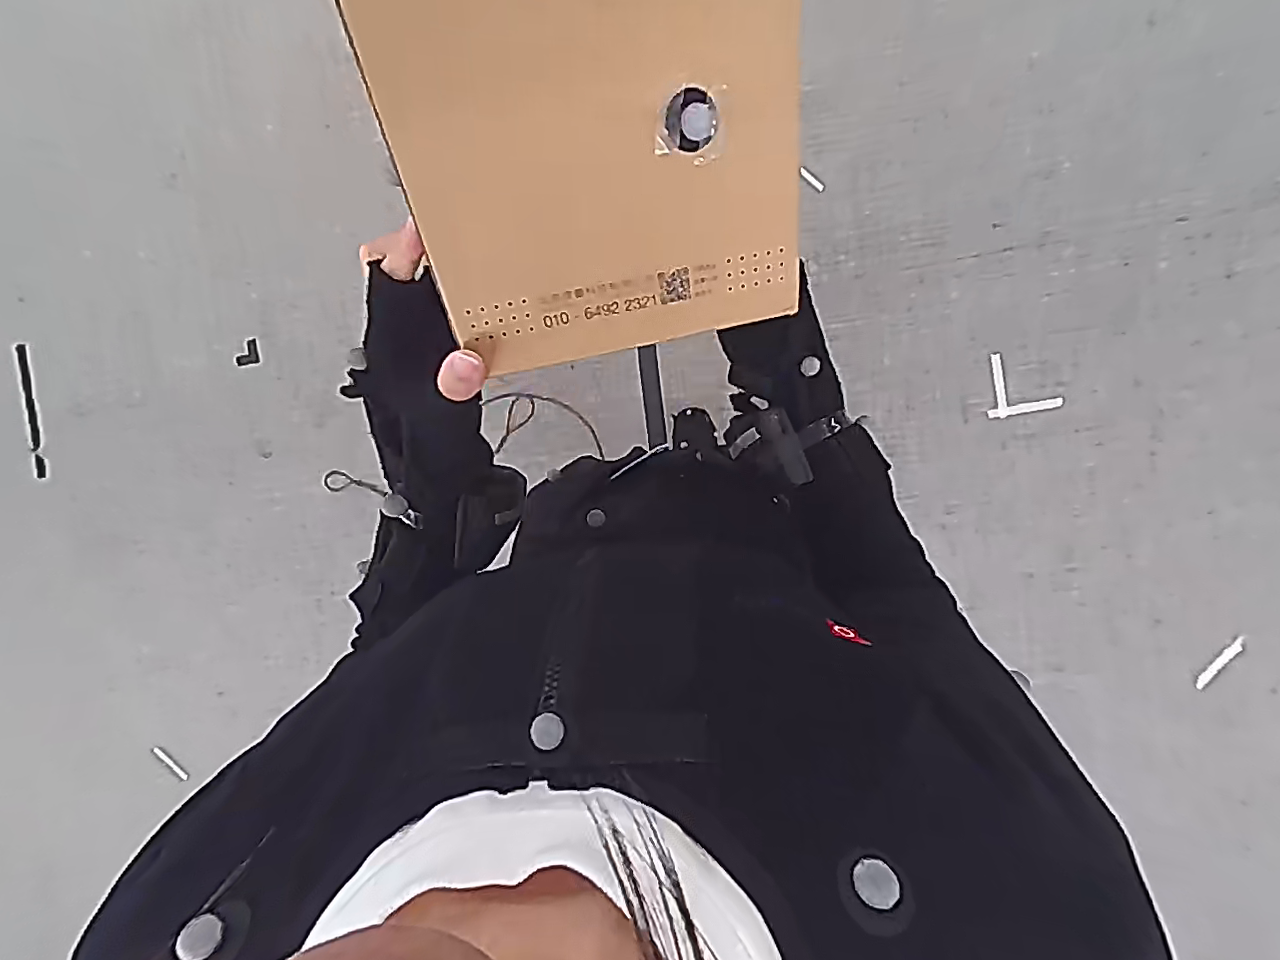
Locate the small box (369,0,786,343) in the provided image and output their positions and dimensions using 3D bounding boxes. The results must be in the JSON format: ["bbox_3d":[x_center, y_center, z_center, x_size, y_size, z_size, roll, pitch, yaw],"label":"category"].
[{"bbox_3d":[-0.022,-0.188,0.305,0.168,0.179,0.176,-12,124,-3],"label":"small box"}]
